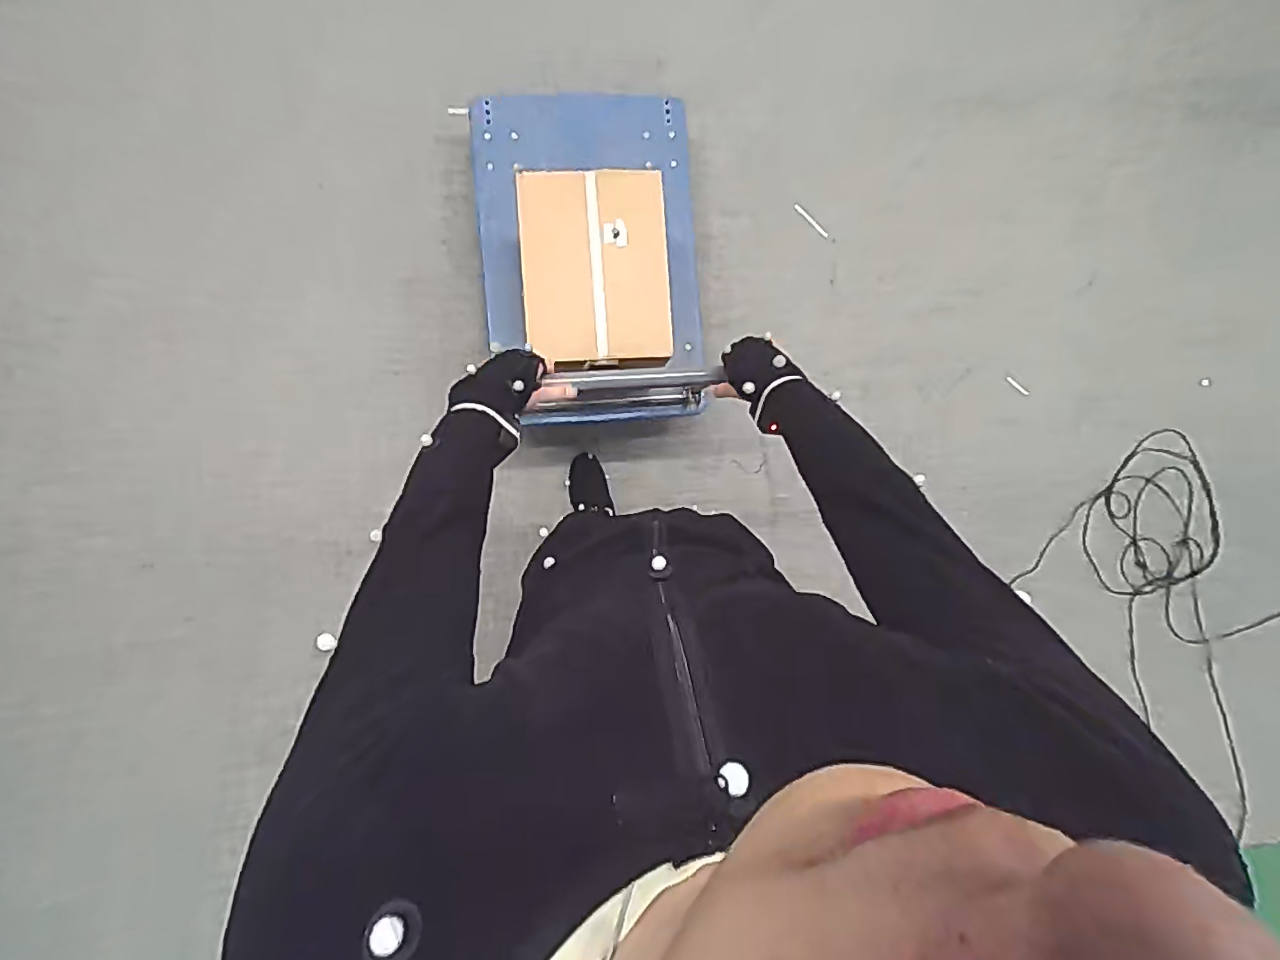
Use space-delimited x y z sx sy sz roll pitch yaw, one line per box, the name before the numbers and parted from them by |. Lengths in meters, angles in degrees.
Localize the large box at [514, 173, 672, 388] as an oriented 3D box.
large box | -0.114 -0.457 1.308 0.320 0.320 0.408 -4 89 -7
